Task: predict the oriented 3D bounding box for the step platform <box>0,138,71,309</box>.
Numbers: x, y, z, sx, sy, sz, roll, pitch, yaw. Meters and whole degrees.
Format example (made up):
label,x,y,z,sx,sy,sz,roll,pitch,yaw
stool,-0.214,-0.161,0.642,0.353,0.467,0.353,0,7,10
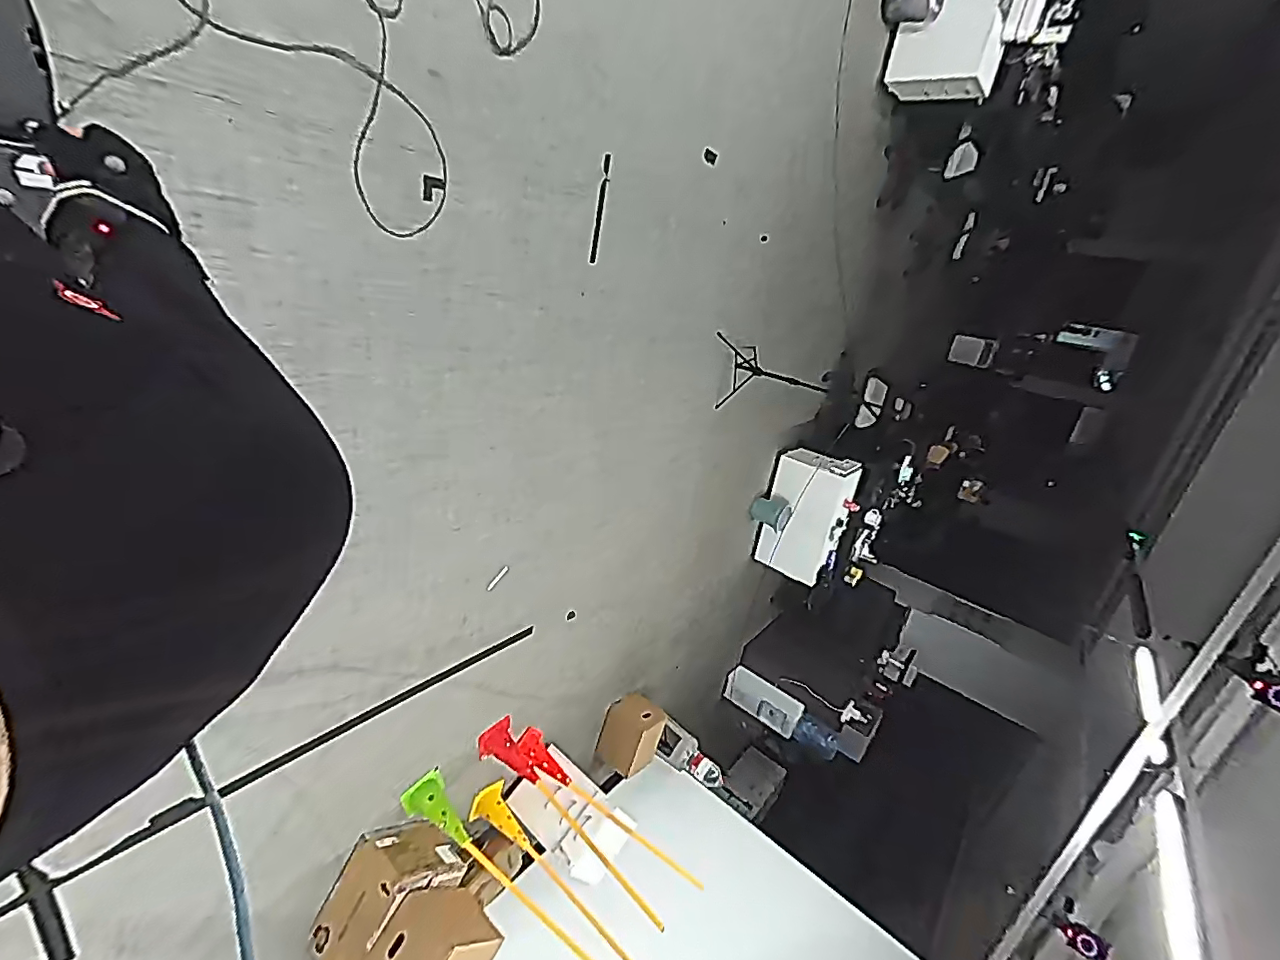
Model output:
label,x,y,z,sx,sy,sz,roll,pitch,yaw
step platform,-1.334,-0.412,0.795,0.684,0.204,0.286,-18,125,-47
